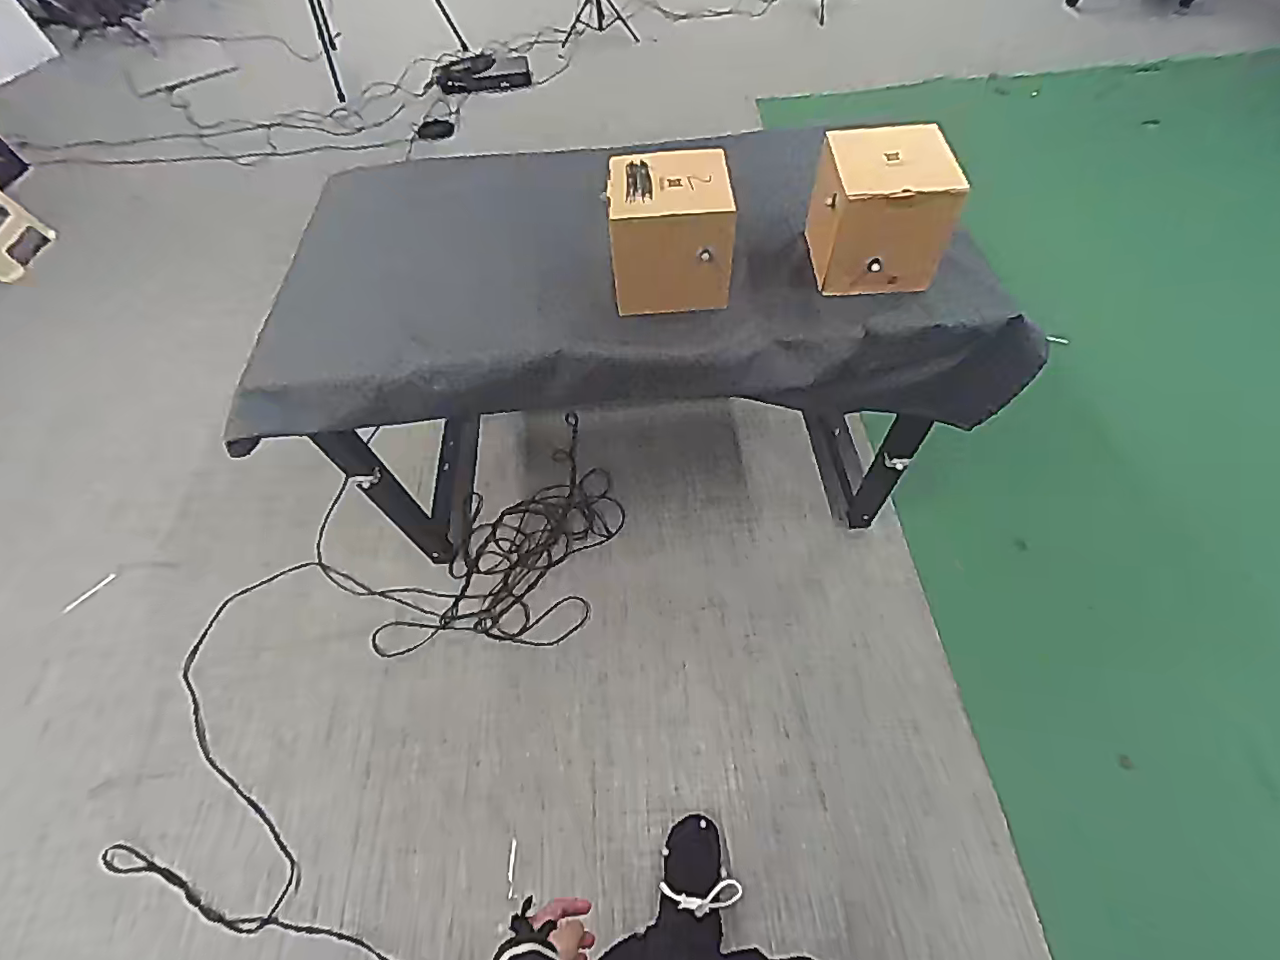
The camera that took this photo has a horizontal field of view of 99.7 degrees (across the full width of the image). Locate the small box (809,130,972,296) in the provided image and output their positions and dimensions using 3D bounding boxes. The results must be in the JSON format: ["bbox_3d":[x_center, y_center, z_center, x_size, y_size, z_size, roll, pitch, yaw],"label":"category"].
[{"bbox_3d":[0.371,-0.410,0.840,0.168,0.176,0.179,-1,58,4],"label":"small box"}]
